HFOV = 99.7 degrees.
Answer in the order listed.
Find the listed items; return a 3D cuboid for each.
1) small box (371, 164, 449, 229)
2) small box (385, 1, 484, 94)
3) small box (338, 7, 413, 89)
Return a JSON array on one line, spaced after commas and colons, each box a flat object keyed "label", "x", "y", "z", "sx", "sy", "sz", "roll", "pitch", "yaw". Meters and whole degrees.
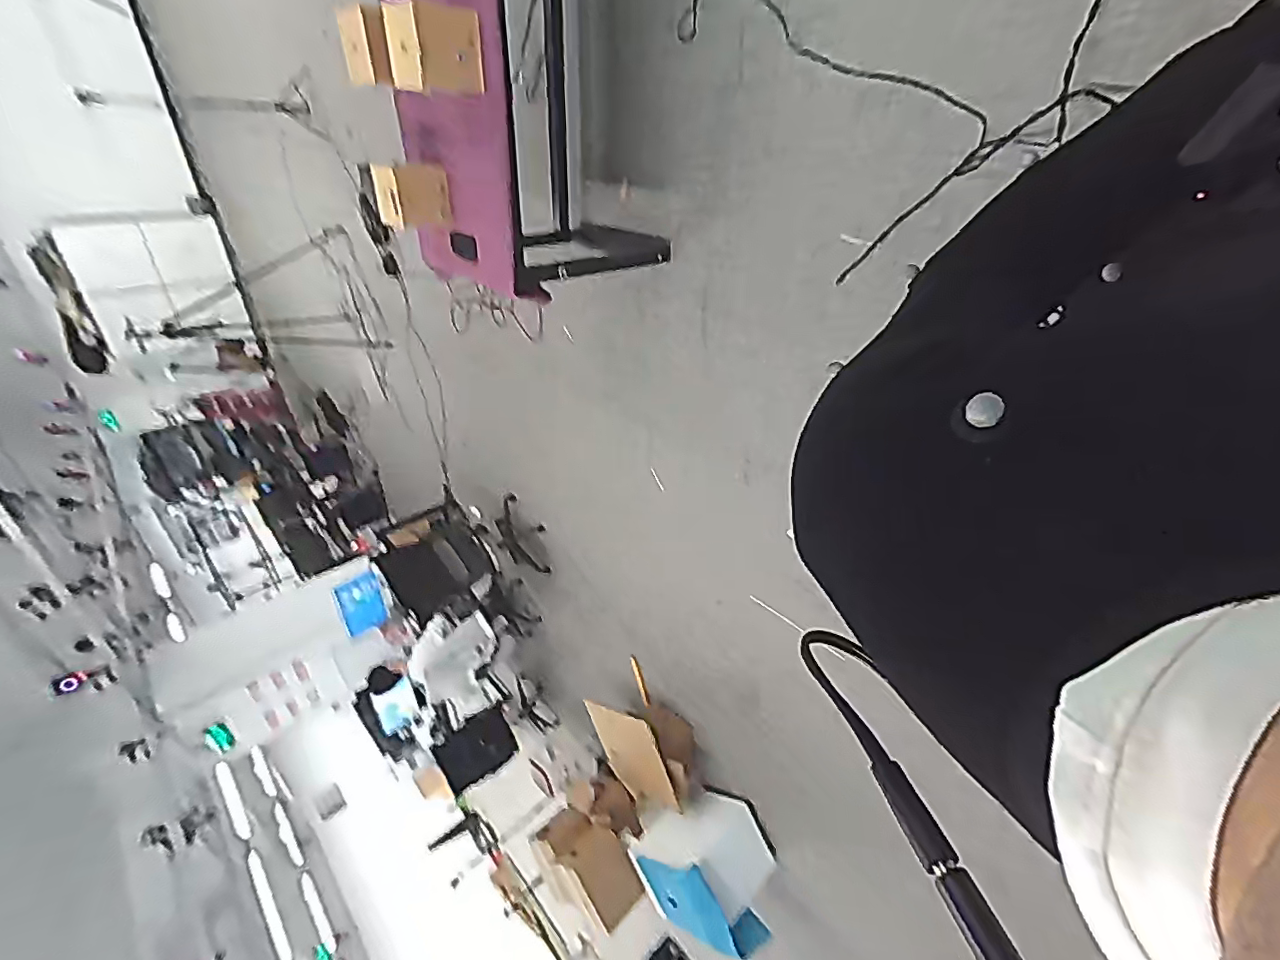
[{"label": "small box", "x": -0.724, "y": -0.909, "z": 1.726, "sx": 0.179, "sy": 0.176, "sz": 0.168, "roll": 31, "pitch": 132, "yaw": 37}, {"label": "small box", "x": -0.516, "y": -1.087, "z": 1.369, "sx": 0.179, "sy": 0.176, "sz": 0.168, "roll": 34, "pitch": 134, "yaw": 36}, {"label": "small box", "x": -0.726, "y": -1.227, "z": 1.544, "sx": 0.179, "sy": 0.176, "sz": 0.168, "roll": 30, "pitch": 133, "yaw": 36}]
